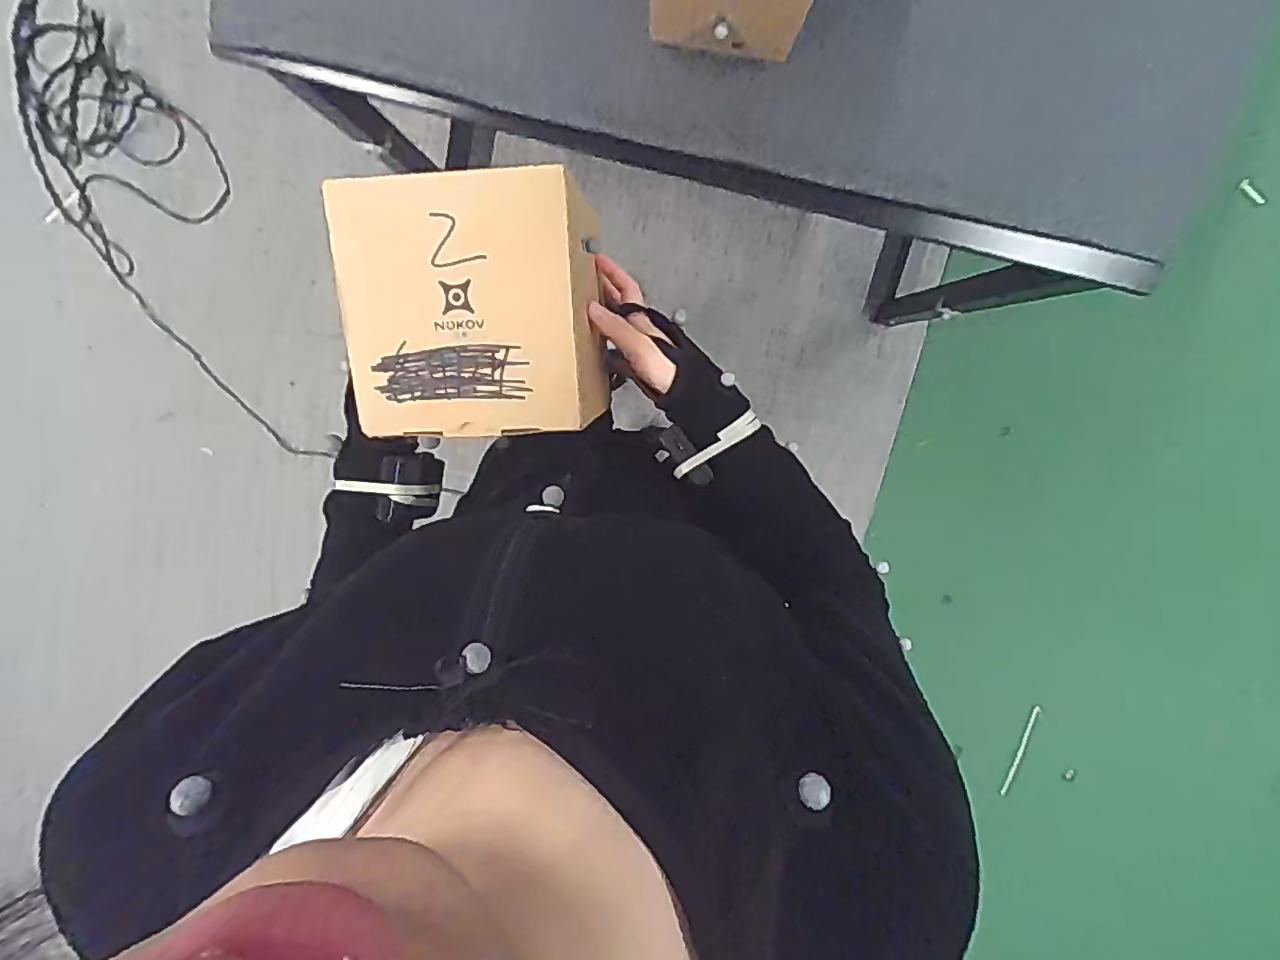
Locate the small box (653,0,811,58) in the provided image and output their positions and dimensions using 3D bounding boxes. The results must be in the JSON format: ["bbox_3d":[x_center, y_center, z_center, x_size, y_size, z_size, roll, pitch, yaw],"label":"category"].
[{"bbox_3d":[0.104,-0.575,0.536,0.168,0.176,0.179,9,100,-1],"label":"small box"}]
